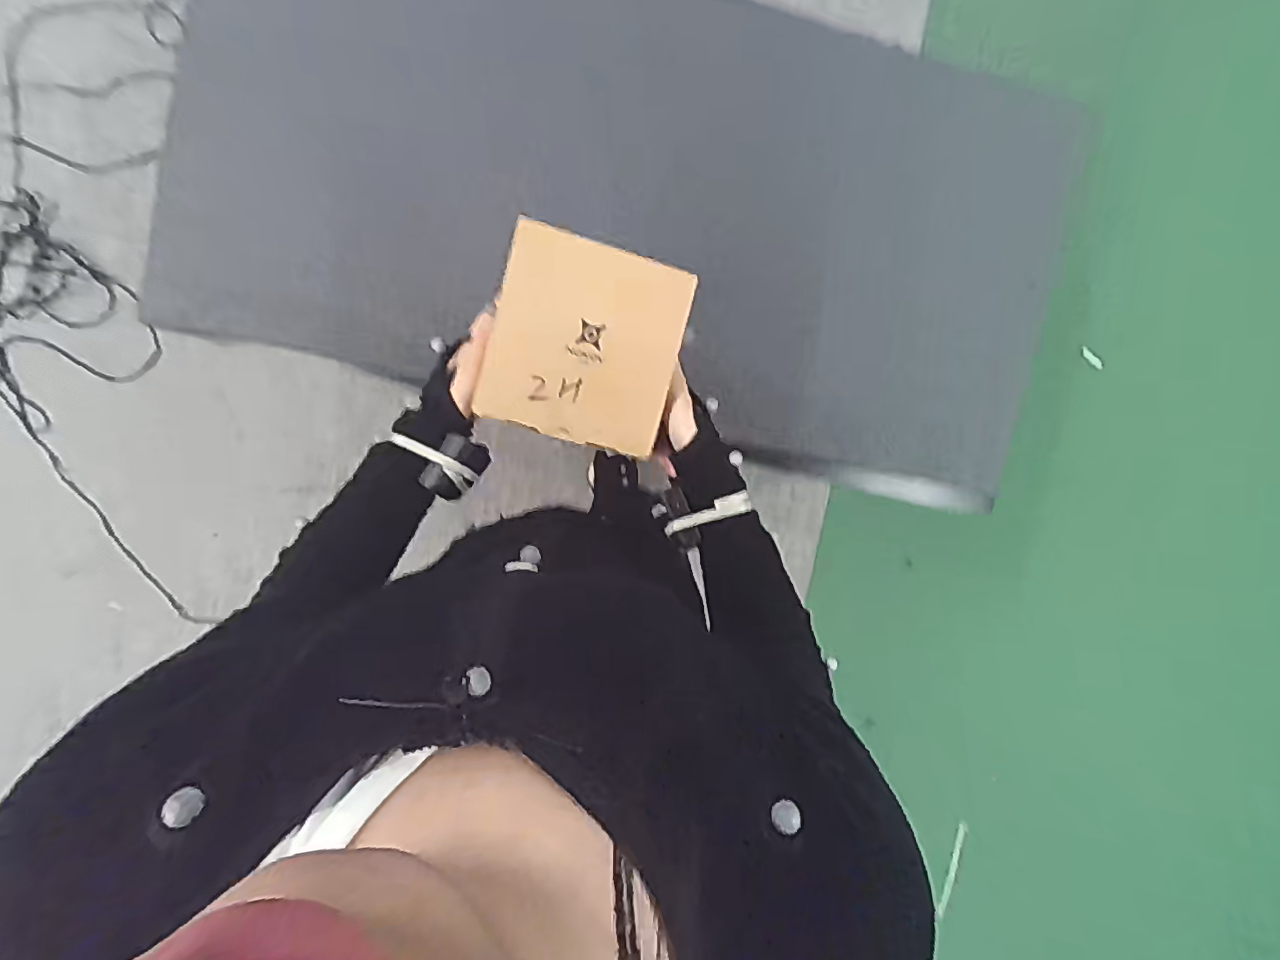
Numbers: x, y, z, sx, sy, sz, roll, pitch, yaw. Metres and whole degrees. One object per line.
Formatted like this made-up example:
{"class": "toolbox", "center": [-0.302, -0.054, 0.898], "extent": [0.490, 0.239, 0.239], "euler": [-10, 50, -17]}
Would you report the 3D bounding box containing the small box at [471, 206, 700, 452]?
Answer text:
{"class": "small box", "center": [-0.059, -0.133, 0.549], "extent": [0.168, 0.176, 0.179], "euler": [15, 91, -10]}
